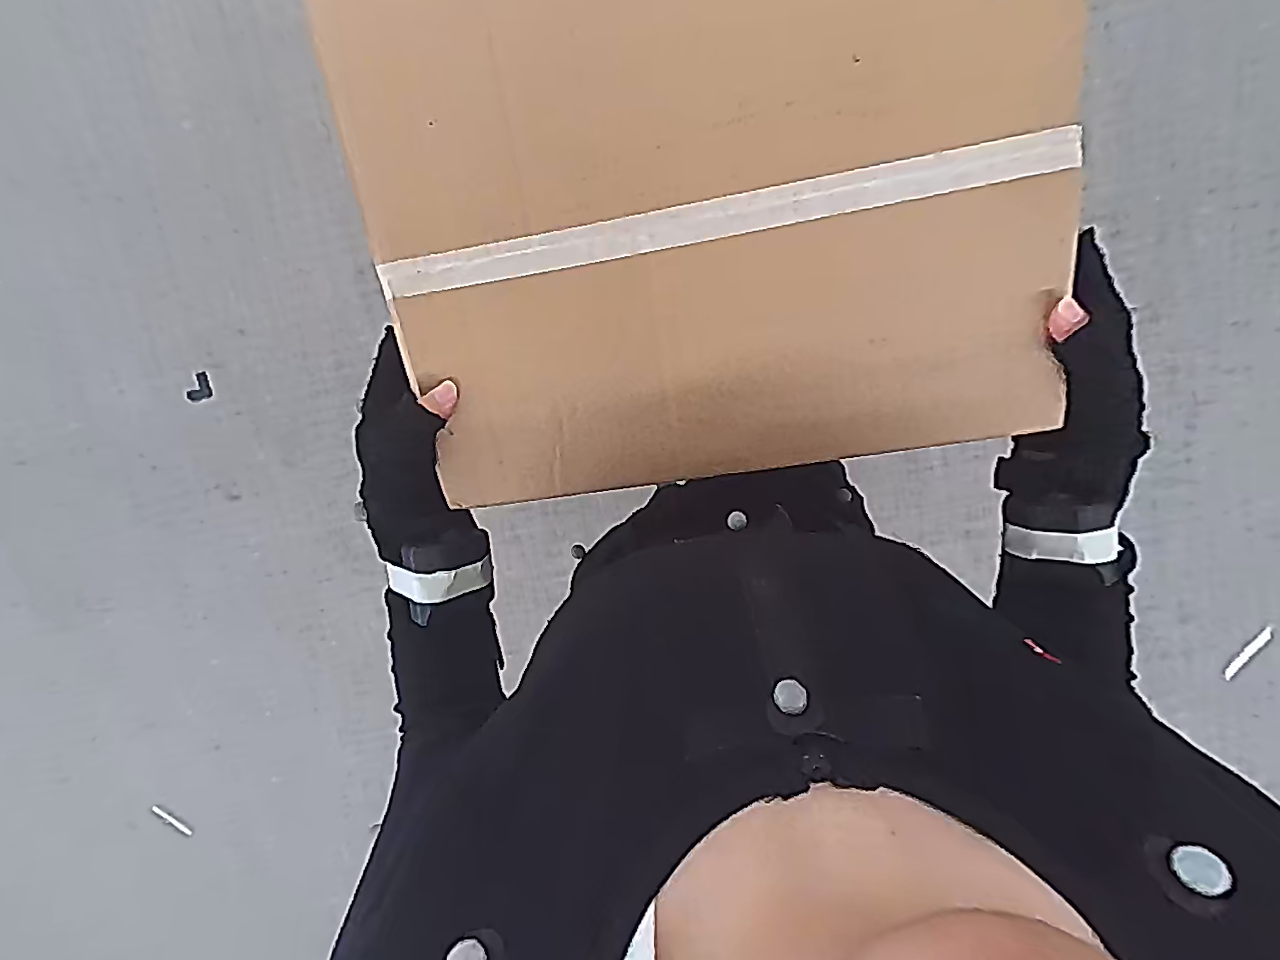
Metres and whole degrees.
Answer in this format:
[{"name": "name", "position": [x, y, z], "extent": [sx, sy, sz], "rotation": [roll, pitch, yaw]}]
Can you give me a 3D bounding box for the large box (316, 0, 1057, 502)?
[{"name": "large box", "position": [0.046, -0.203, 0.467], "extent": [0.408, 0.320, 0.320], "rotation": [-8, 107, 7]}]
